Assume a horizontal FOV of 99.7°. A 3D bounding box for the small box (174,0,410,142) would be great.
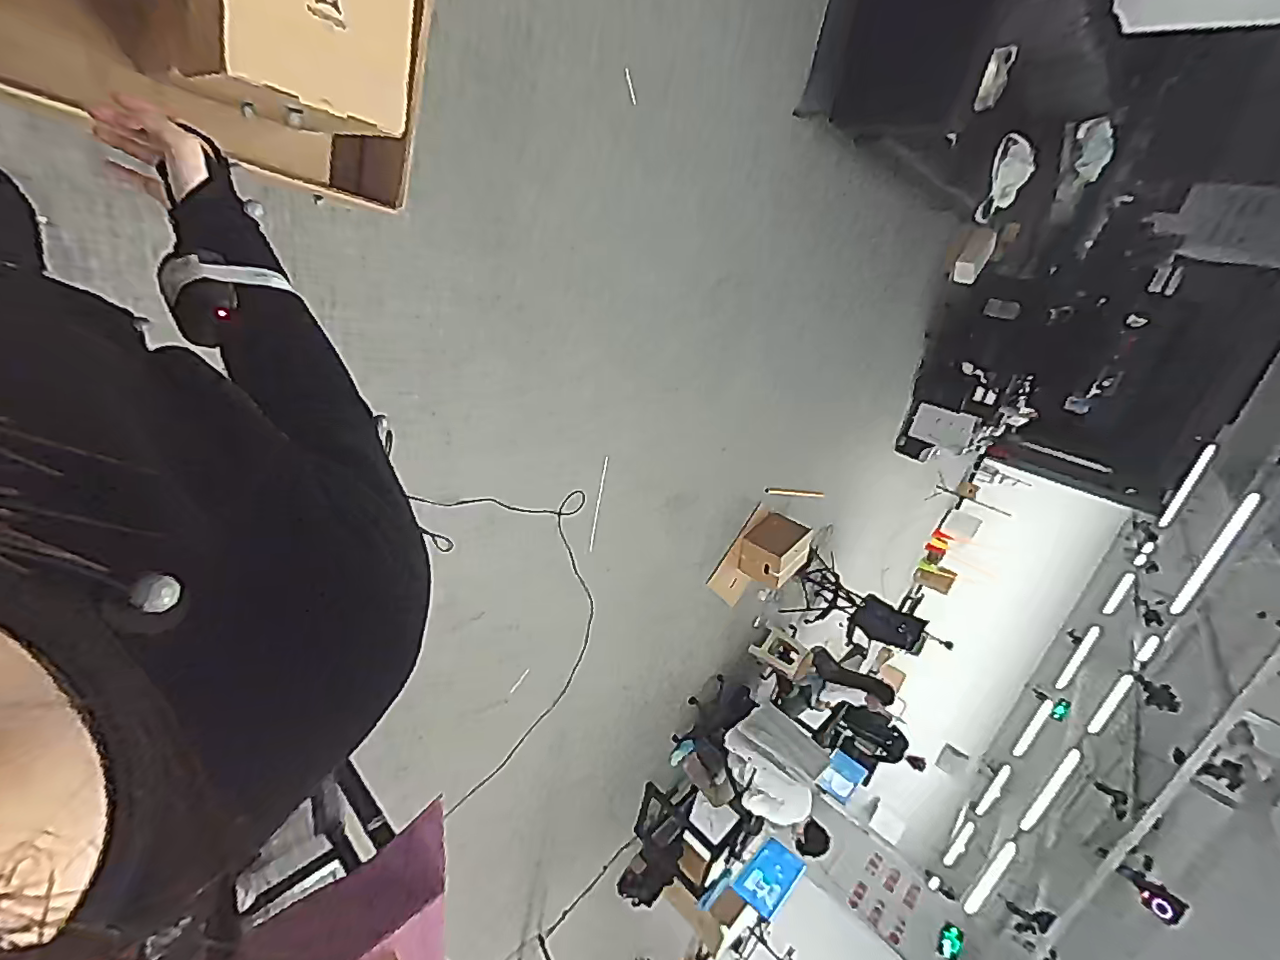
[{"bbox_3d":[-0.364,-0.484,0.566,0.168,0.176,0.179,-10,122,-49],"label":"small box"}]
